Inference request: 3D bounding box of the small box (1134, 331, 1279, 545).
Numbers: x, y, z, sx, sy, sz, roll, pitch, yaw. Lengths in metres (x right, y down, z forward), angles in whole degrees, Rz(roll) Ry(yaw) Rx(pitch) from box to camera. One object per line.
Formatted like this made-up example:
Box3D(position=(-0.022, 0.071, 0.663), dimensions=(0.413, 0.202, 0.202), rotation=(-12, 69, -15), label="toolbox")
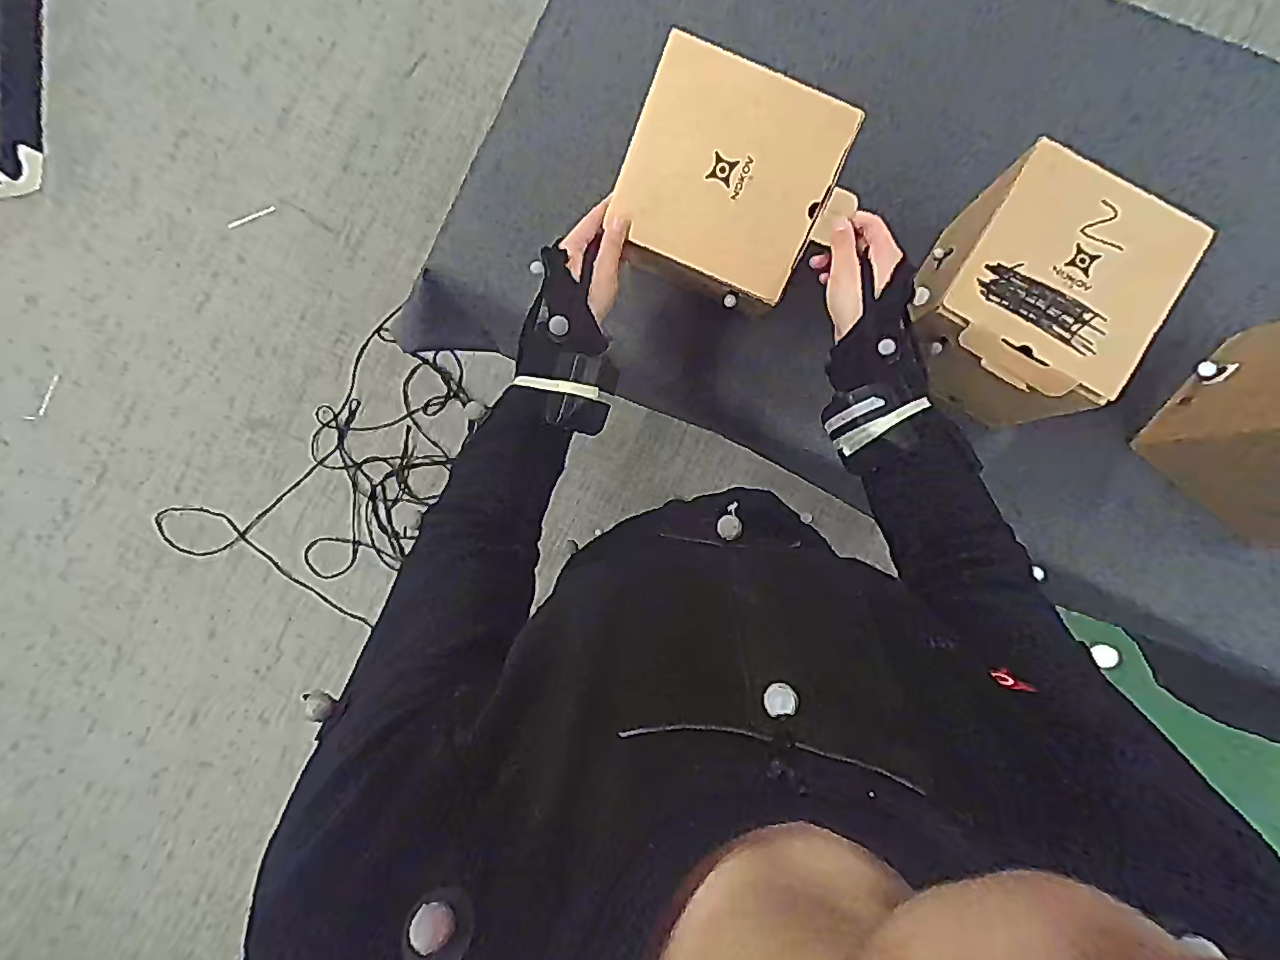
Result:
Box3D(position=(0.665, -0.043, 0.526), dimensions=(0.179, 0.176, 0.168), rotation=(42, 91, 4), label="small box")
